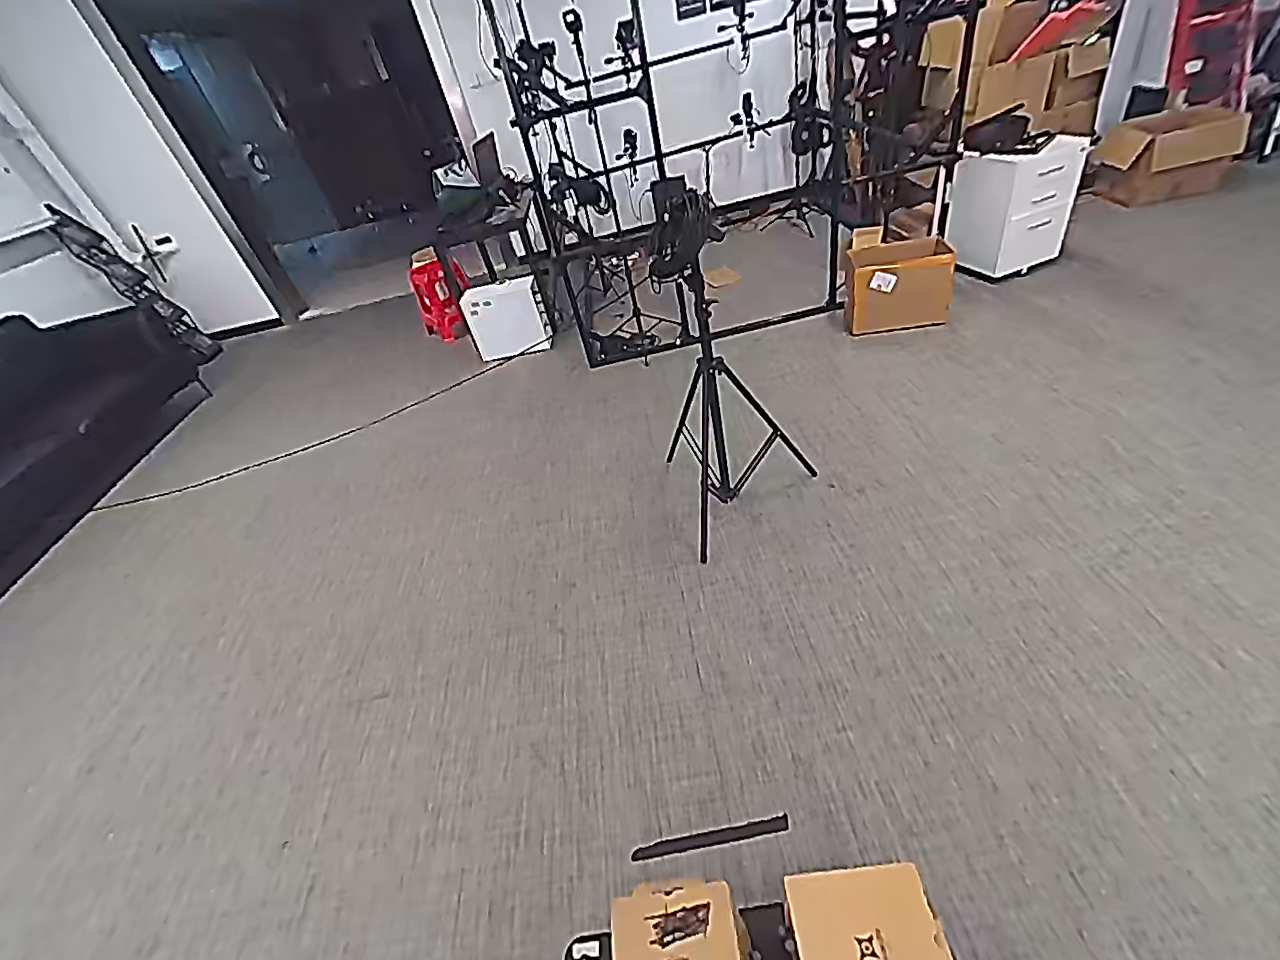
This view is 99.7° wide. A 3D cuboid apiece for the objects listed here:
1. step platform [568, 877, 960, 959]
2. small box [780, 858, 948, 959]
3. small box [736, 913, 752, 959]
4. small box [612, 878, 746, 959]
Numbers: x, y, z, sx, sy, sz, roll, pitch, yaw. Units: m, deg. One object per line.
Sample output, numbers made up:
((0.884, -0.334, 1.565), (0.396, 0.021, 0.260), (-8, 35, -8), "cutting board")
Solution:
((0.211, 0.903, 0.944), (0.684, 0.204, 0.286), (-13, 38, 3), "step platform")
((0.294, 0.629, 0.711), (0.179, 0.176, 0.168), (-10, 39, 5), "small box")
((0.096, 0.801, 0.827), (0.168, 0.176, 0.179), (-12, 39, 4), "small box")
((0.061, 0.675, 0.727), (0.168, 0.176, 0.179), (-12, 39, 4), "small box")
